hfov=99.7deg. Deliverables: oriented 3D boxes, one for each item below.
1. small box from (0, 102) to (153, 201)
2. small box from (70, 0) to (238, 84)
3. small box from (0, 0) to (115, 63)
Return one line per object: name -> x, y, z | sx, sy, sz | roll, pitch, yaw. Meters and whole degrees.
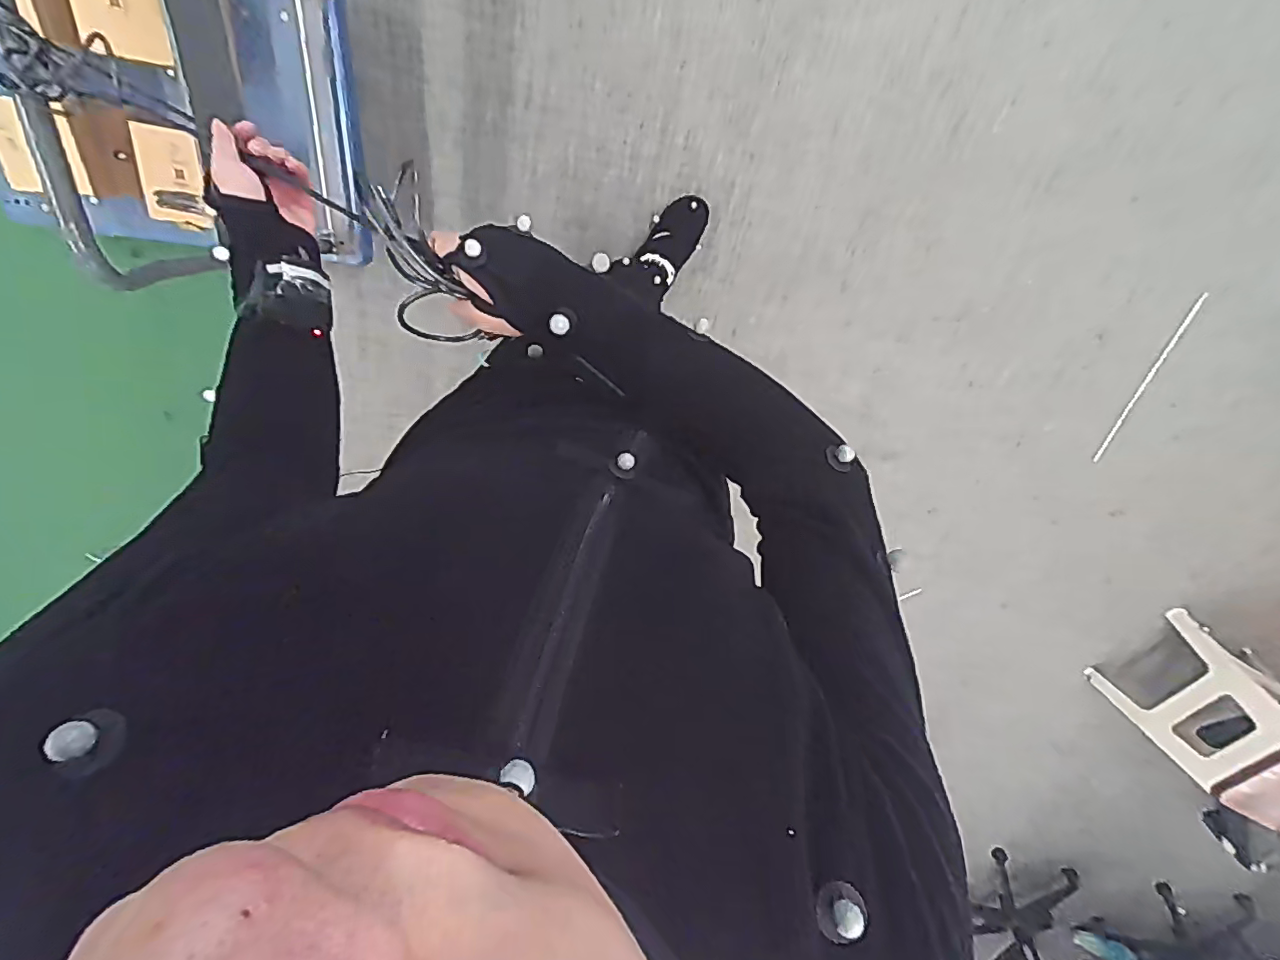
small box -> -1.193, -0.690, 1.146 | 0.179, 0.176, 0.168 | 4, 117, 2
small box -> -0.921, -0.877, 1.029 | 0.179, 0.176, 0.168 | 9, 118, -1
small box -> -1.162, -0.914, 1.025 | 0.179, 0.176, 0.168 | 6, 119, 0
